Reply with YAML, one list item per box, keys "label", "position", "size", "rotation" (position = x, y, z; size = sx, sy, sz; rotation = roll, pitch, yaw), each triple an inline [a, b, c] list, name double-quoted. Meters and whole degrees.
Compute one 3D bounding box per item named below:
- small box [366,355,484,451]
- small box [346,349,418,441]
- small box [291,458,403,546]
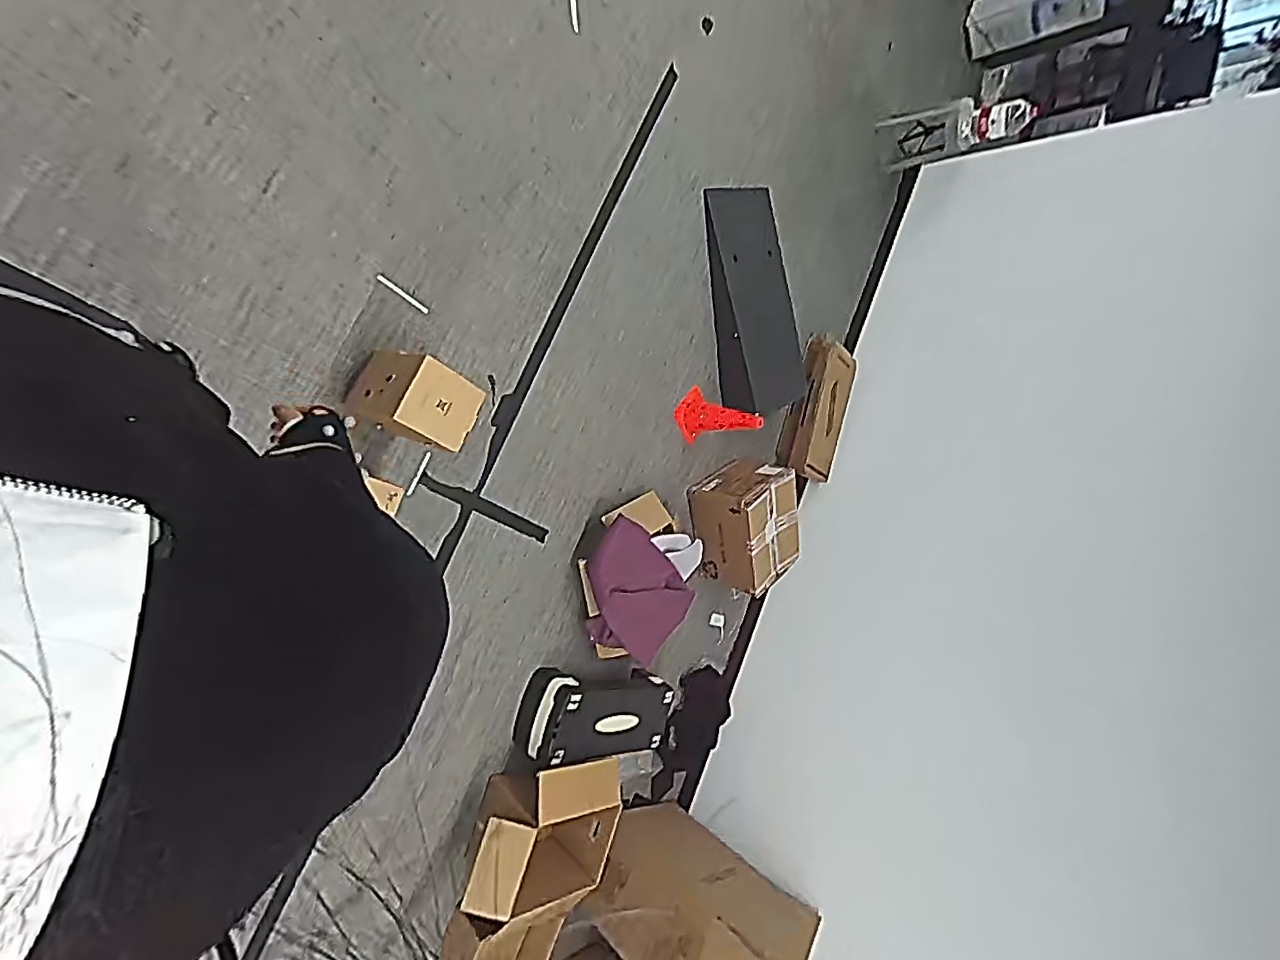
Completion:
- label: "small box"
  position: [-0.518, -0.188, 1.301]
  size: [0.179, 0.176, 0.168]
  rotation: [34, 74, -44]
- label: "small box"
  position: [-0.634, -0.223, 1.410]
  size: [0.168, 0.176, 0.179]
  rotation: [36, 73, -45]
- label: "small box"
  position: [-0.743, 0.051, 1.366]
  size: [0.179, 0.176, 0.168]
  rotation: [29, 78, -45]
